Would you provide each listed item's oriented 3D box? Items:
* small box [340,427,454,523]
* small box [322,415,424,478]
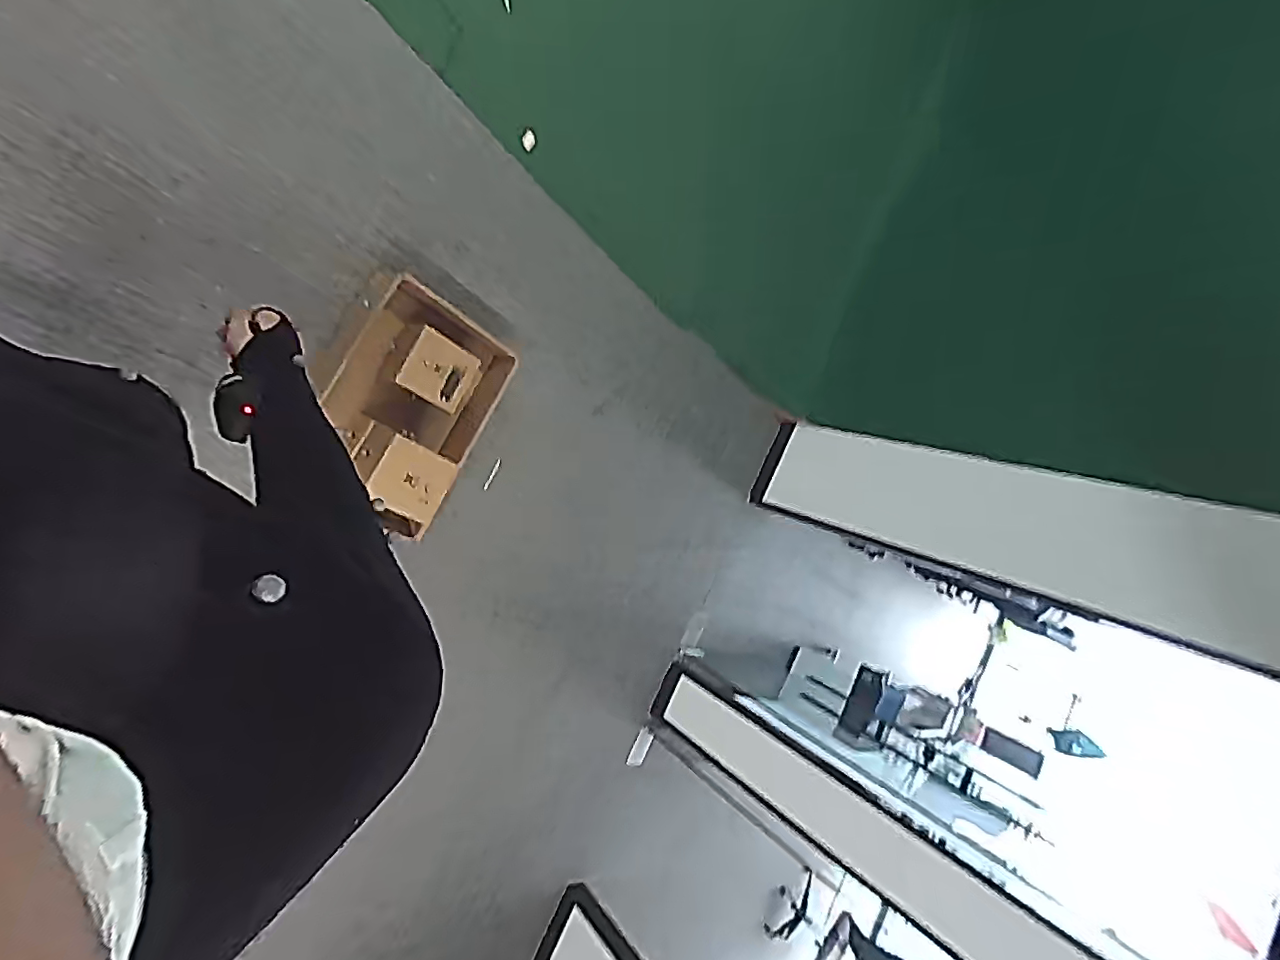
[{"bbox_3d":[-0.602,-0.018,1.331,0.179,0.176,0.168,36,79,-44],"label":"small box"},{"bbox_3d":[-0.713,-0.061,1.447,0.179,0.176,0.168,36,78,-44],"label":"small box"}]
